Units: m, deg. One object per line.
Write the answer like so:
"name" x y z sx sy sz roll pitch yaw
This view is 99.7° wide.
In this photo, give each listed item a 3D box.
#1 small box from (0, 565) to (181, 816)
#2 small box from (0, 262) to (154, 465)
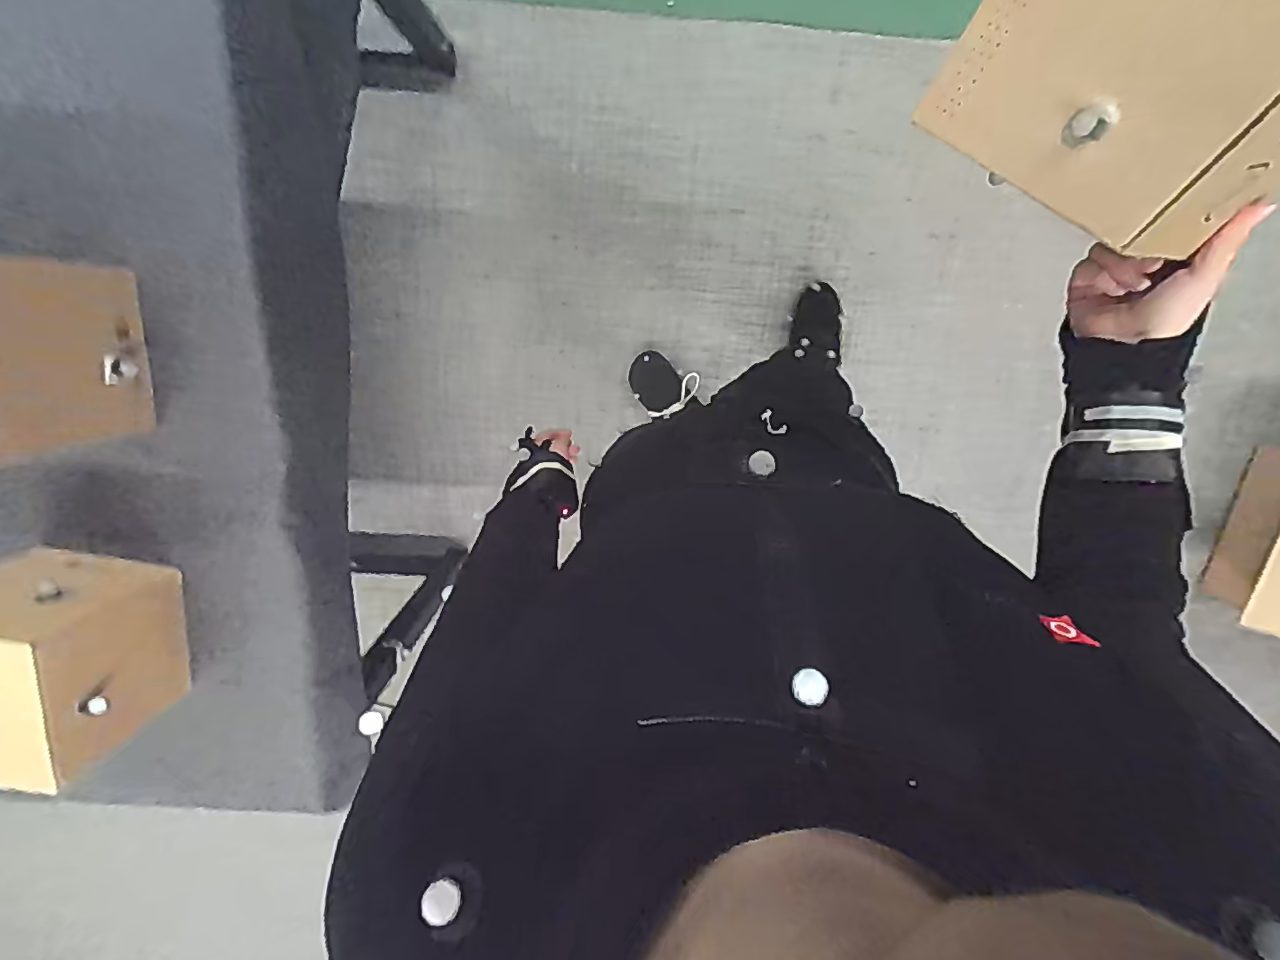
"small box" -0.630 0.205 0.565 0.168 0.176 0.179 8 105 -3
"small box" -0.599 -0.110 0.480 0.179 0.176 0.168 4 106 -2
